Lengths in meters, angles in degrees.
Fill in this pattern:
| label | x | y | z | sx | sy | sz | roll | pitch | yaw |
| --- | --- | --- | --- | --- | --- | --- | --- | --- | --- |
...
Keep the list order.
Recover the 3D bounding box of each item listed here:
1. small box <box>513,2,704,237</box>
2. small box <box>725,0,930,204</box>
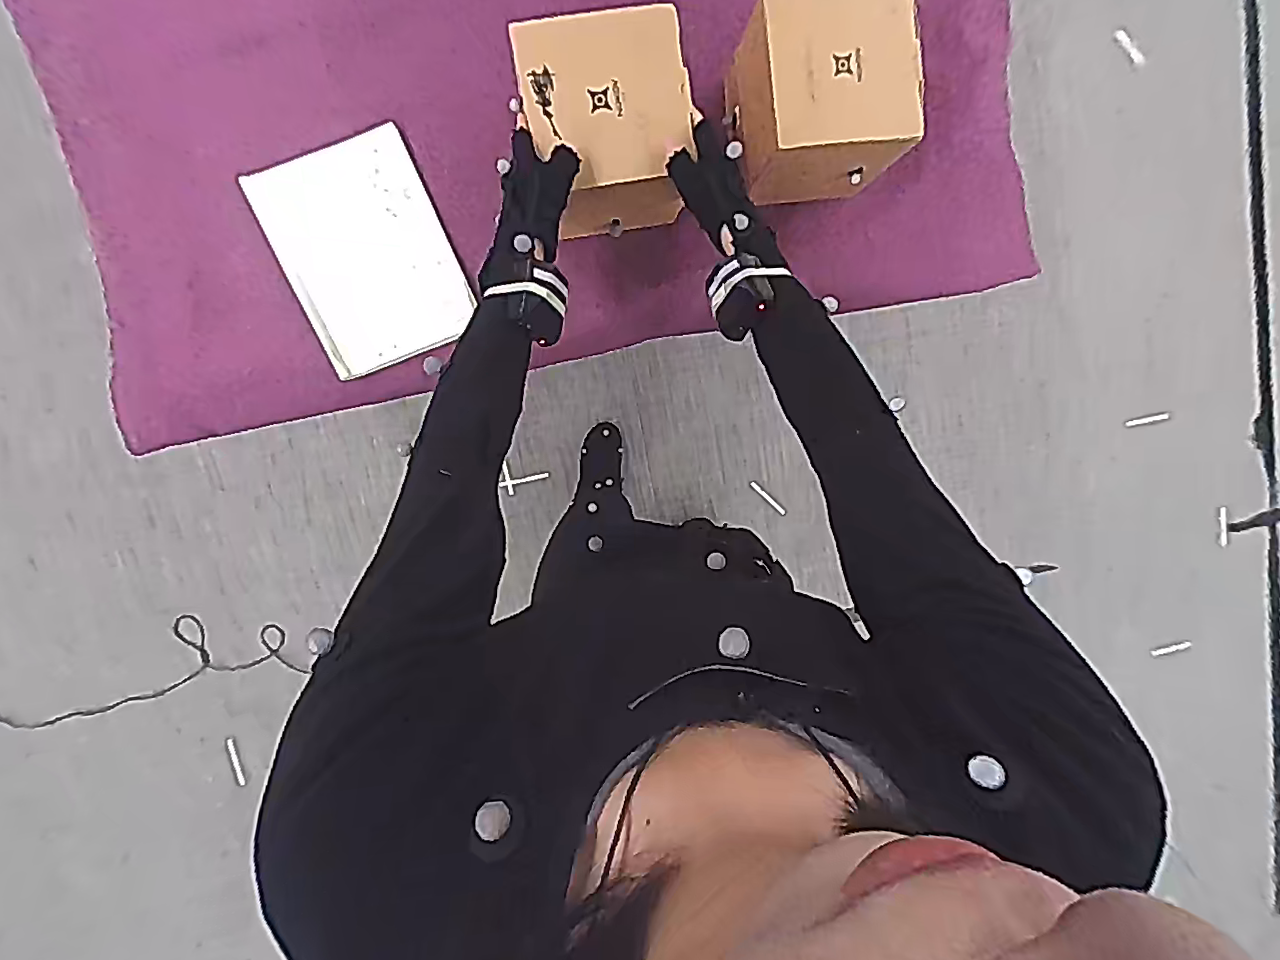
| label | x | y | z | sx | sy | sz | roll | pitch | yaw |
| --- | --- | --- | --- | --- | --- | --- | --- | --- | --- |
| small box | -0.040 | -0.402 | 0.631 | 0.179 | 0.176 | 0.168 | -11 | 99 | -6 |
| small box | 0.218 | -0.461 | 0.663 | 0.179 | 0.176 | 0.168 | -9 | 96 | -5 |
